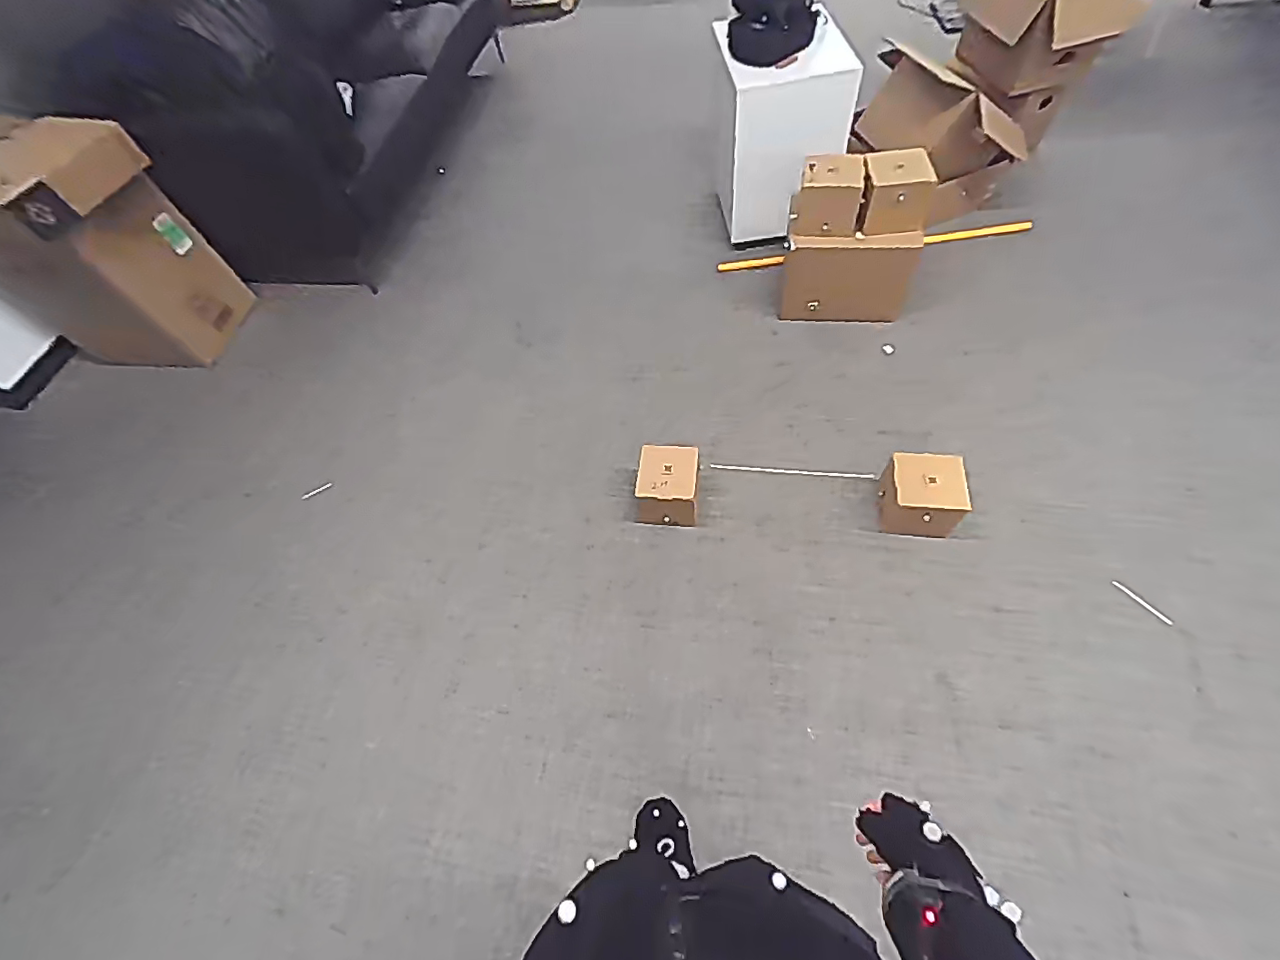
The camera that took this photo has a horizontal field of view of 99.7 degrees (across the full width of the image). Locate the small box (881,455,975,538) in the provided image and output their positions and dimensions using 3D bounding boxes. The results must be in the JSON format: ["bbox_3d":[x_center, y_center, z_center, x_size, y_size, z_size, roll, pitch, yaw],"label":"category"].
[{"bbox_3d":[0.768,0.048,1.460,0.179,0.176,0.168,3,60,10],"label":"small box"}]

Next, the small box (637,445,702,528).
[{"bbox_3d":[0.092,0.020,1.569,0.168,0.176,0.179,3,60,10],"label":"small box"}]
